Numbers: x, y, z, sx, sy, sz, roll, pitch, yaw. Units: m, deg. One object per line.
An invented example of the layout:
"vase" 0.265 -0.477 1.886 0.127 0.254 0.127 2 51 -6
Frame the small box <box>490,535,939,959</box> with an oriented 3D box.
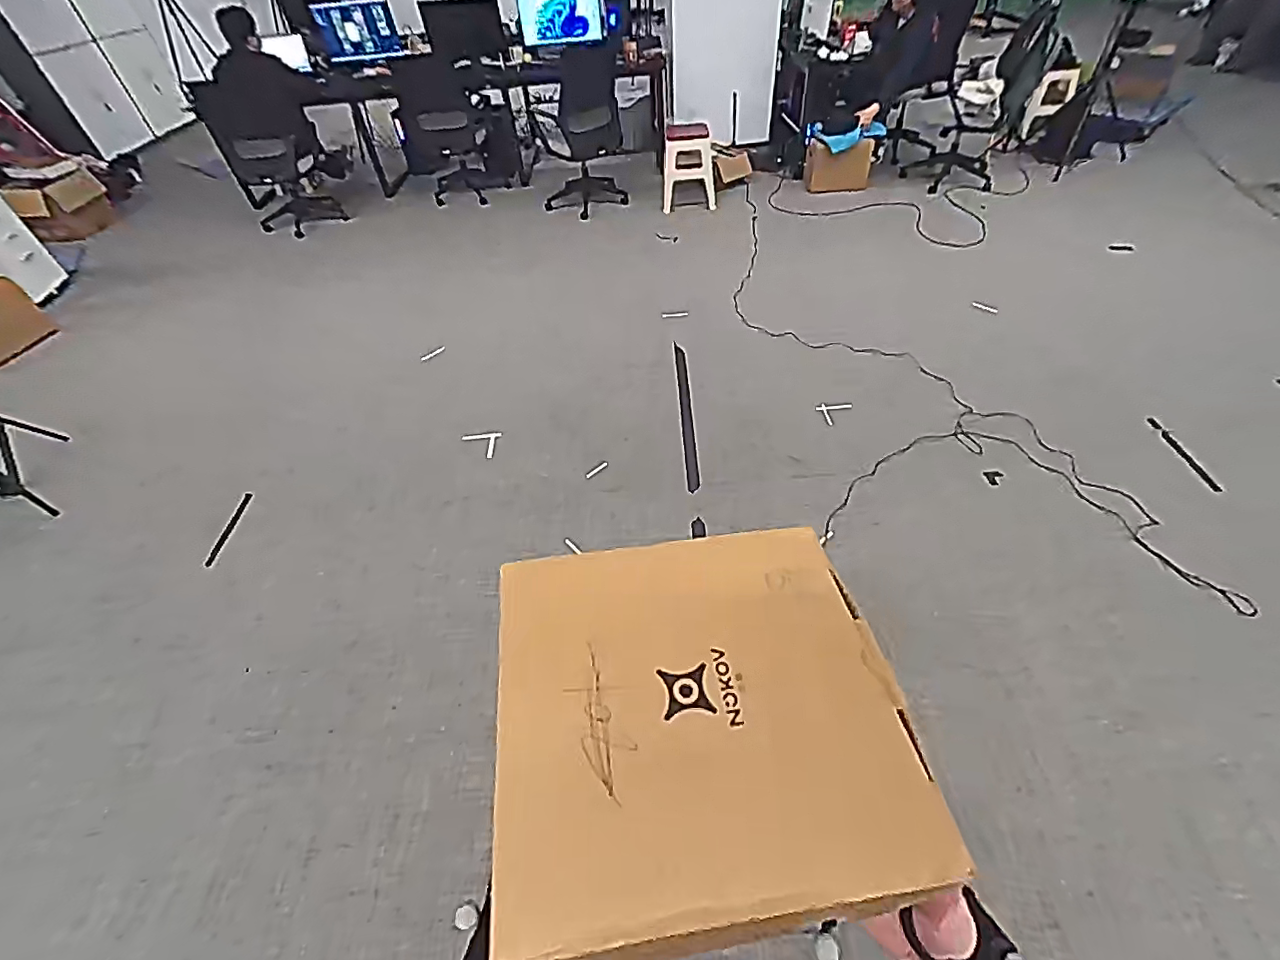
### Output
"small box" 0.021 0.155 0.312 0.179 0.176 0.168 -7 46 -5
